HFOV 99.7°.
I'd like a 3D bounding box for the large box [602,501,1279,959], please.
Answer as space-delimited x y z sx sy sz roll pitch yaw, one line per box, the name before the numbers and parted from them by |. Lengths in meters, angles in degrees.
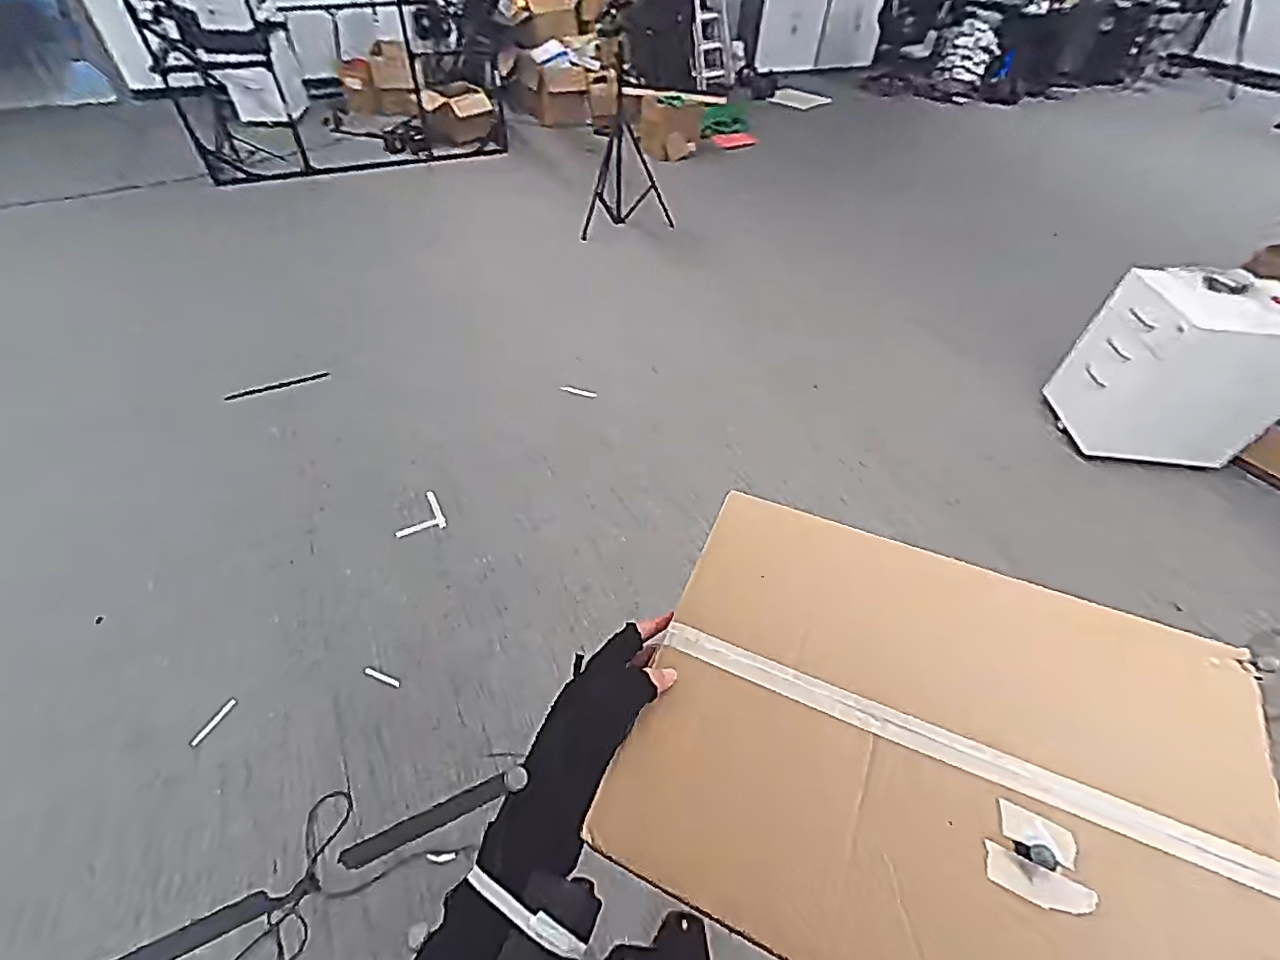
large box | 0.221 0.276 0.517 0.408 0.320 0.320 18 58 18
